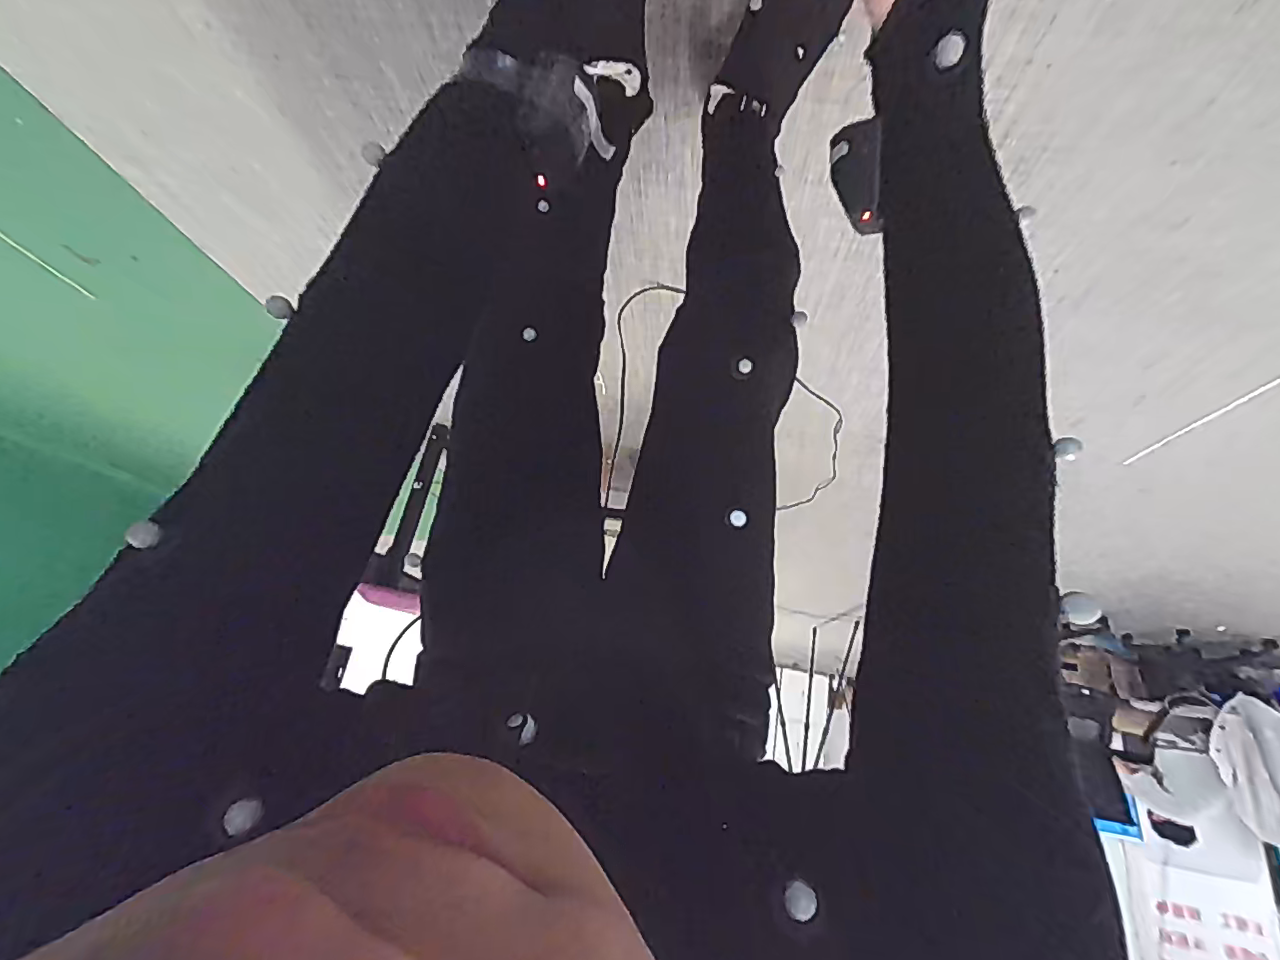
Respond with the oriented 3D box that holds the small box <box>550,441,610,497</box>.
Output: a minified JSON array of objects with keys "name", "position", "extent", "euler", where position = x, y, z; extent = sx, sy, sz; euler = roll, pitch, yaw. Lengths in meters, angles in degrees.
[{"name":"small box","position":[-0.230,-0.046,2.116],"extent":[0.179,0.176,0.168],"euler":[4,160,14]}]
